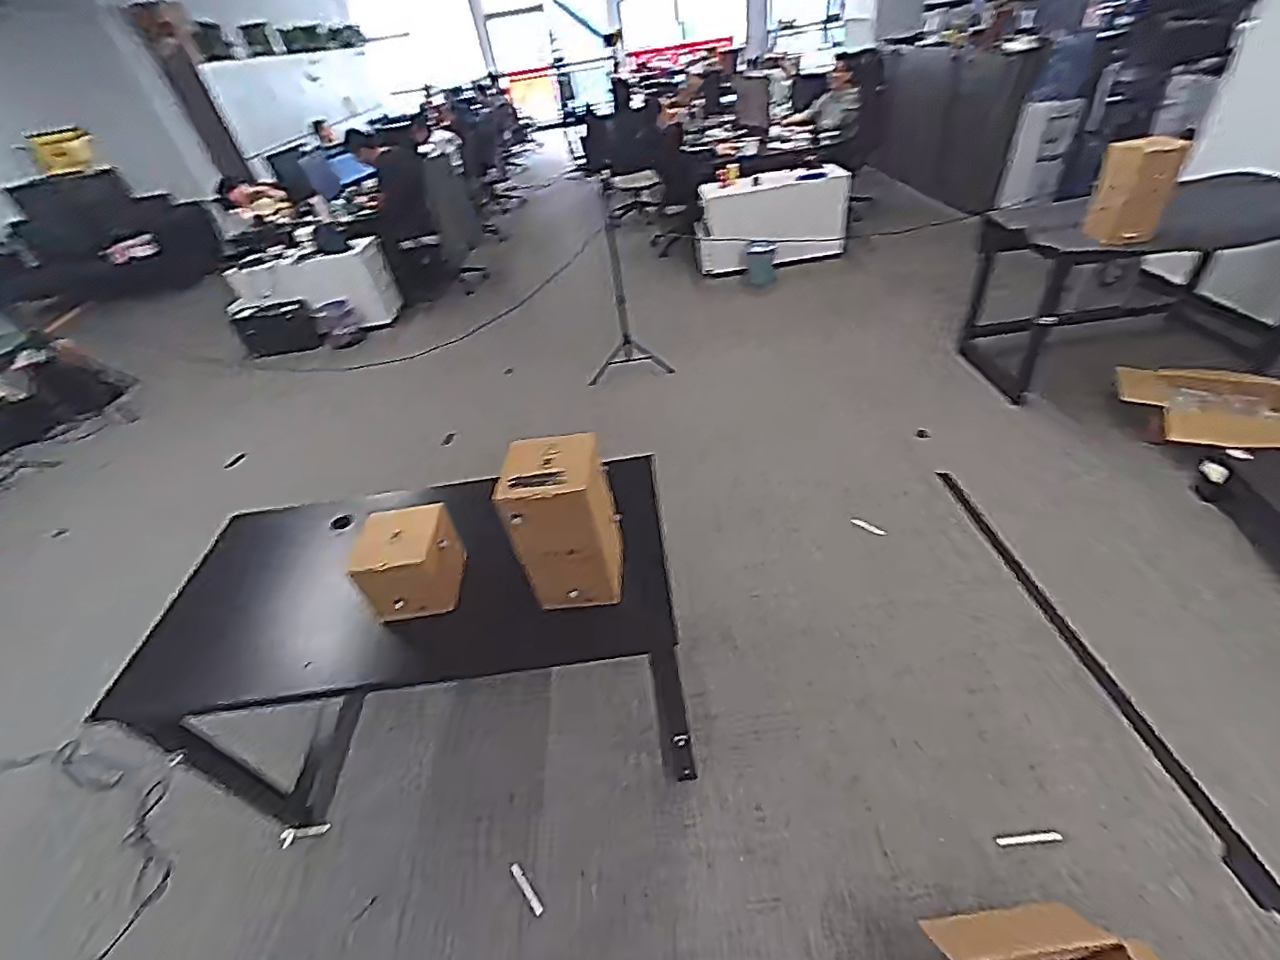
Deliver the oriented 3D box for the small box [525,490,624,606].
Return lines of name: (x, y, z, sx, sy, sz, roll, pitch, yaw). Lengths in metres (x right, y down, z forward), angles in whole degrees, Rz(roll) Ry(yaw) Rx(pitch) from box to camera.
small box: (-0.130, 0.145, 1.152, 0.168, 0.176, 0.179, -6, 40, 6)

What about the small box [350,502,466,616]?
small box: (-0.498, 0.175, 1.195, 0.168, 0.176, 0.179, -8, 41, 2)
